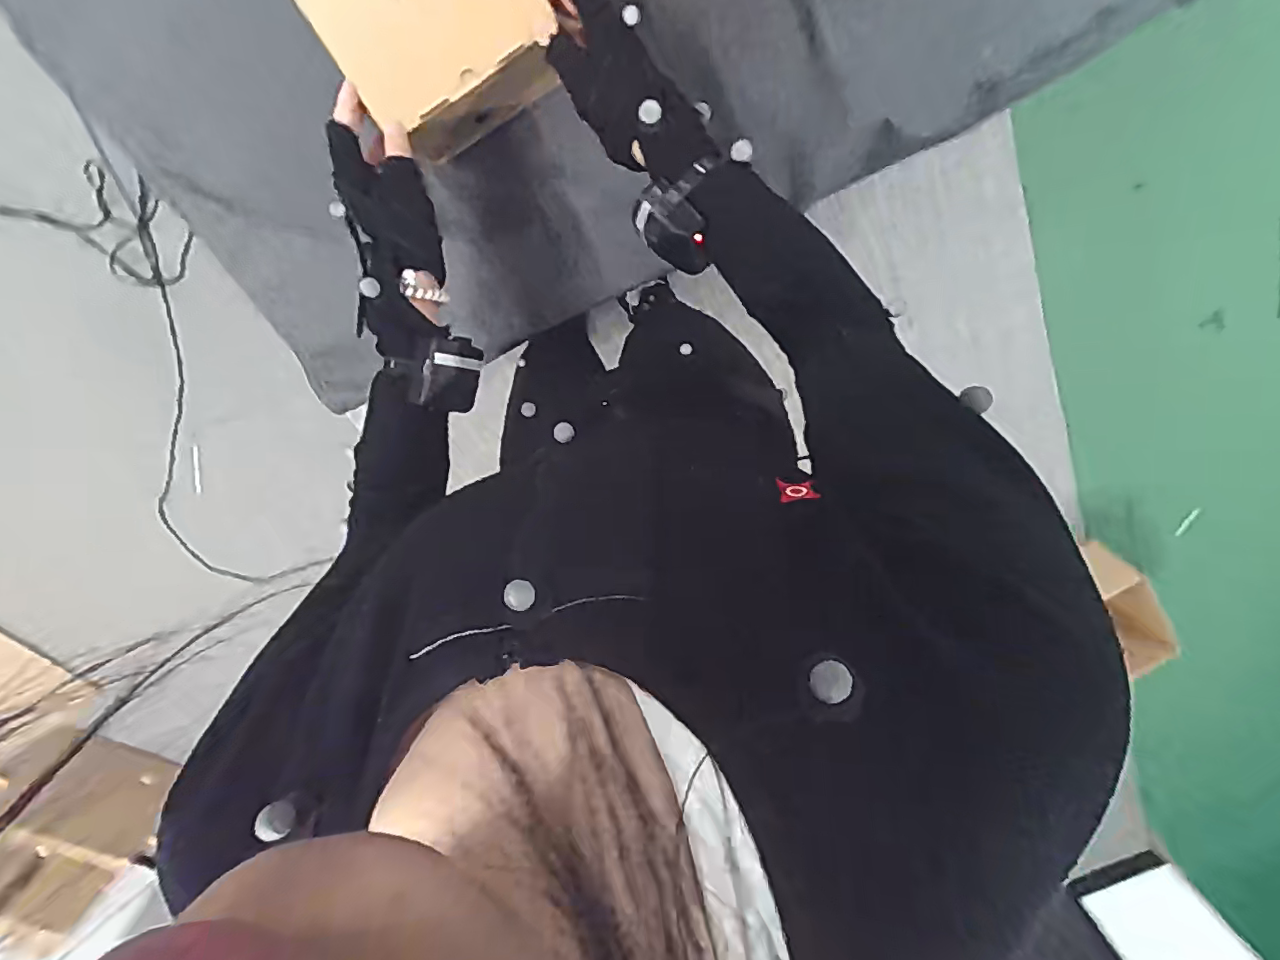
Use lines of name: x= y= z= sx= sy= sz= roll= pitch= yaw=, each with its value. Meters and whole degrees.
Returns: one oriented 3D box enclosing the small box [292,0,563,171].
small box: x=-0.183 y=-0.405 z=0.477 sx=0.168 sy=0.176 sz=0.179 roll=-30 pitch=114 yaw=8
